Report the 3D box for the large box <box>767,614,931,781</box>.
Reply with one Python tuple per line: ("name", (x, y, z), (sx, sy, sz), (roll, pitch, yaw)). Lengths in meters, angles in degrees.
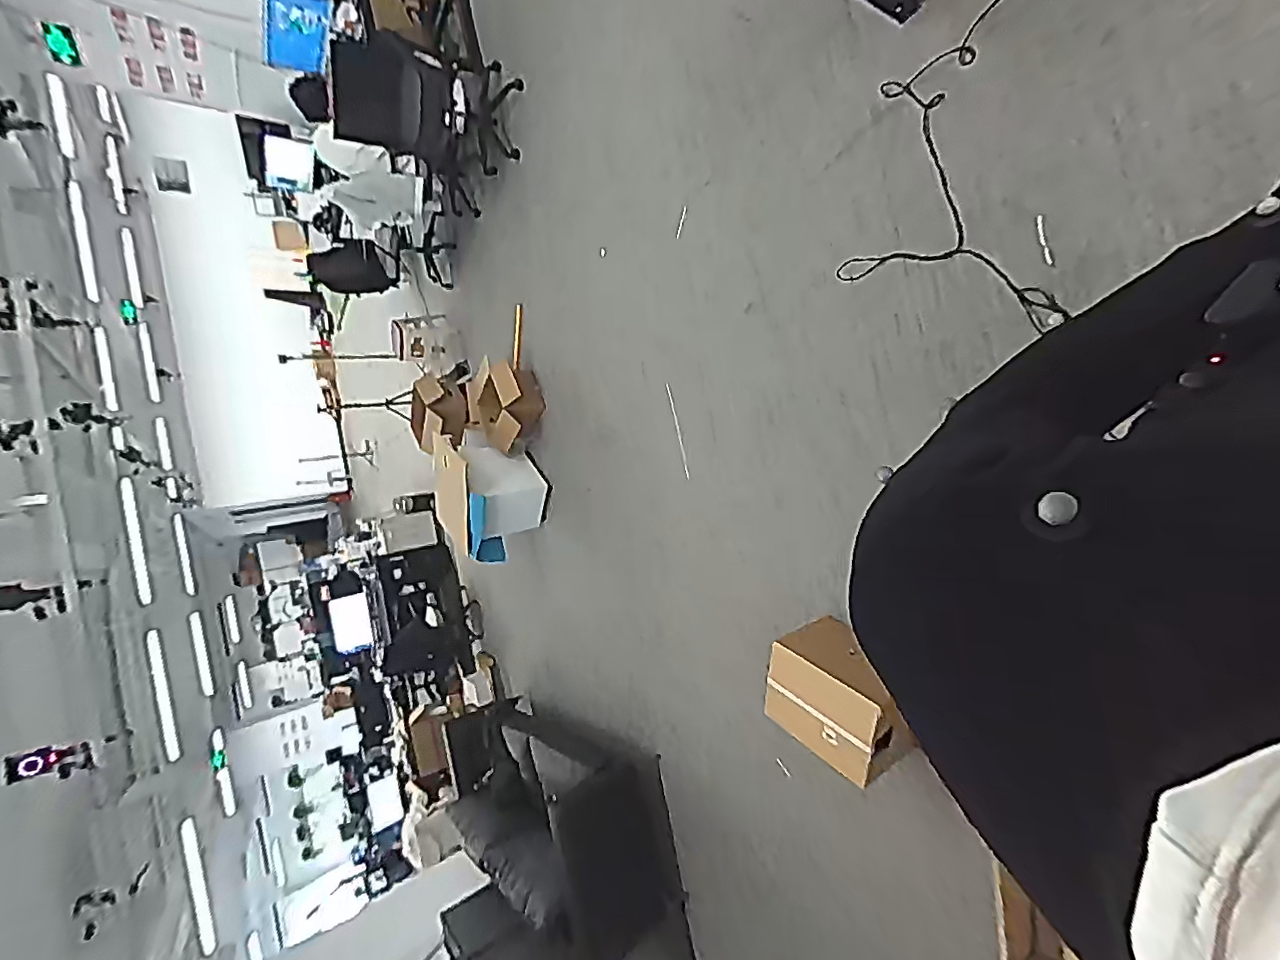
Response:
("large box", (0.701, 0.714, 1.853), (0.408, 0.320, 0.320), (23, 118, 48))
